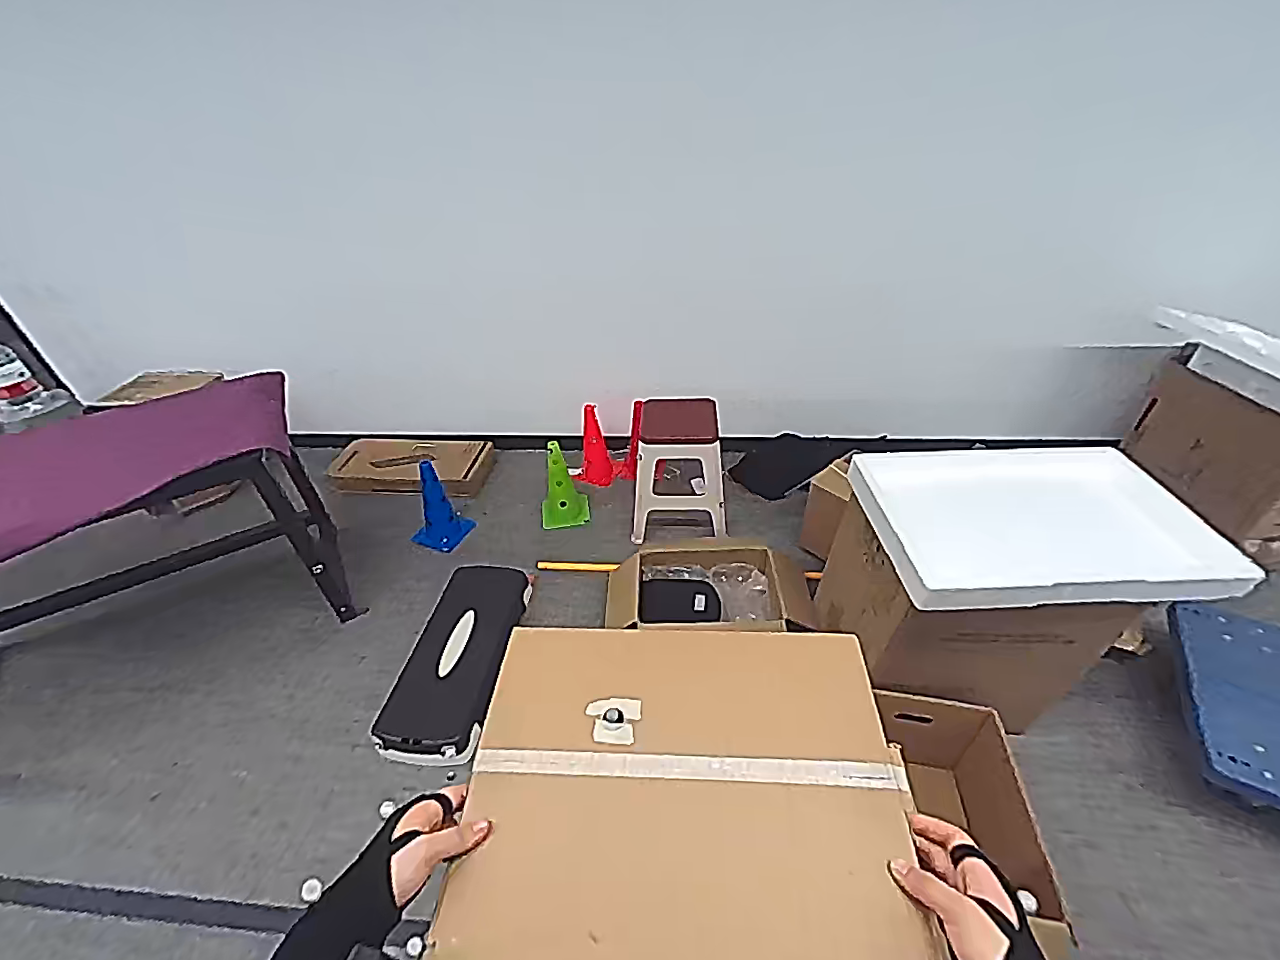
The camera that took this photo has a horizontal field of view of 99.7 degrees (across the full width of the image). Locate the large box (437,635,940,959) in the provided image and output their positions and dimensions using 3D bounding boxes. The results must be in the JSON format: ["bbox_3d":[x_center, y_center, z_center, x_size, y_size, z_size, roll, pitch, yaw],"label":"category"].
[{"bbox_3d":[0.055,0.400,0.625,0.408,0.320,0.320,-2,39,7],"label":"large box"}]
